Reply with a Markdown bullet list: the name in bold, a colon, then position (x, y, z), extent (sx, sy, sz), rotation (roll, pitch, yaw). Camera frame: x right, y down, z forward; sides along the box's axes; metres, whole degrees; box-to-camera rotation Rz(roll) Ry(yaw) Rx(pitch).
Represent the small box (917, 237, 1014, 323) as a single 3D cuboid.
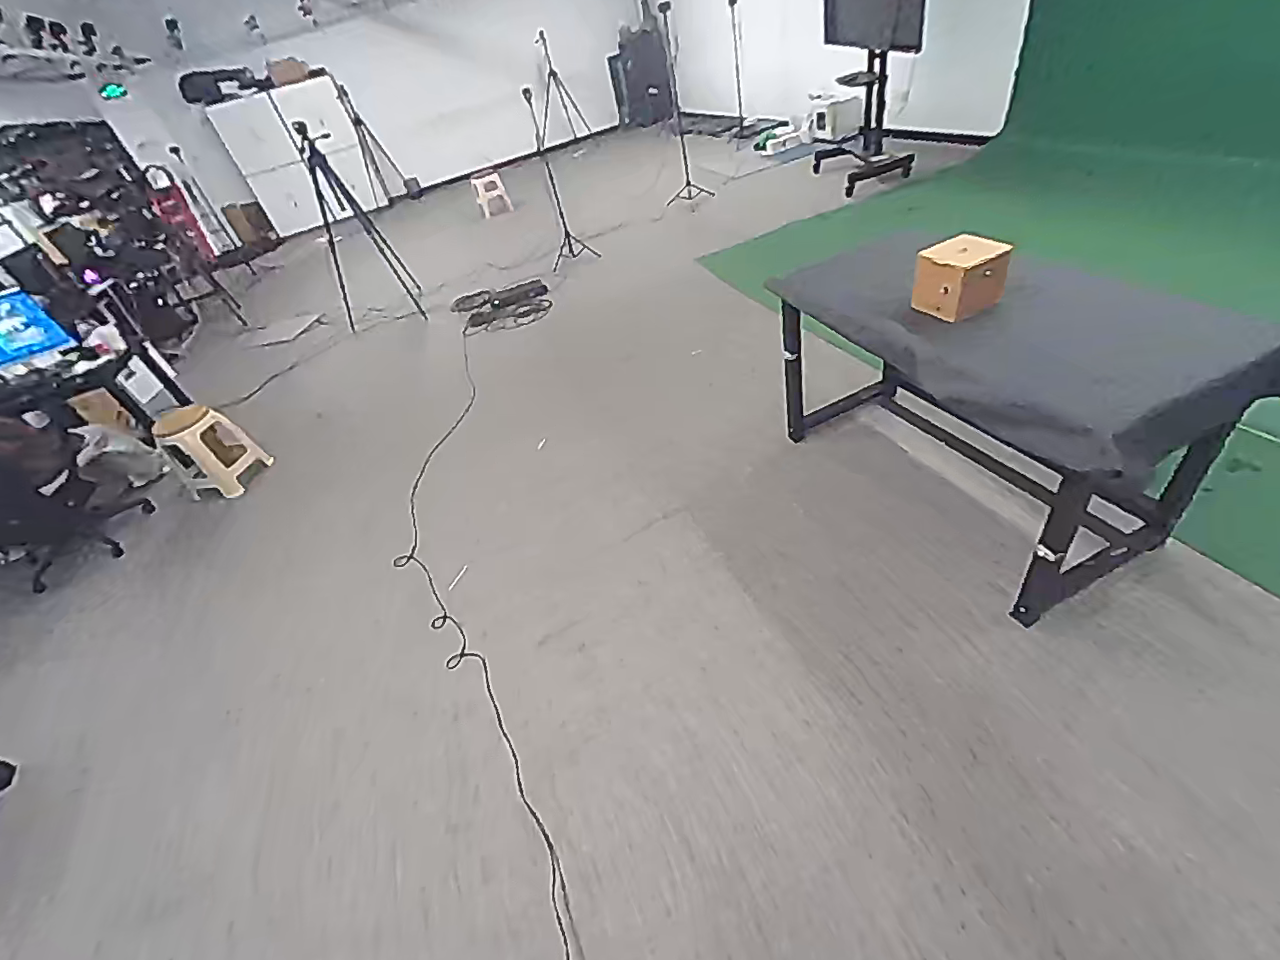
- **small box**: position (0.937, -0.582, 1.578), extent (0.179, 0.176, 0.168), rotation (-23, 42, -11)
